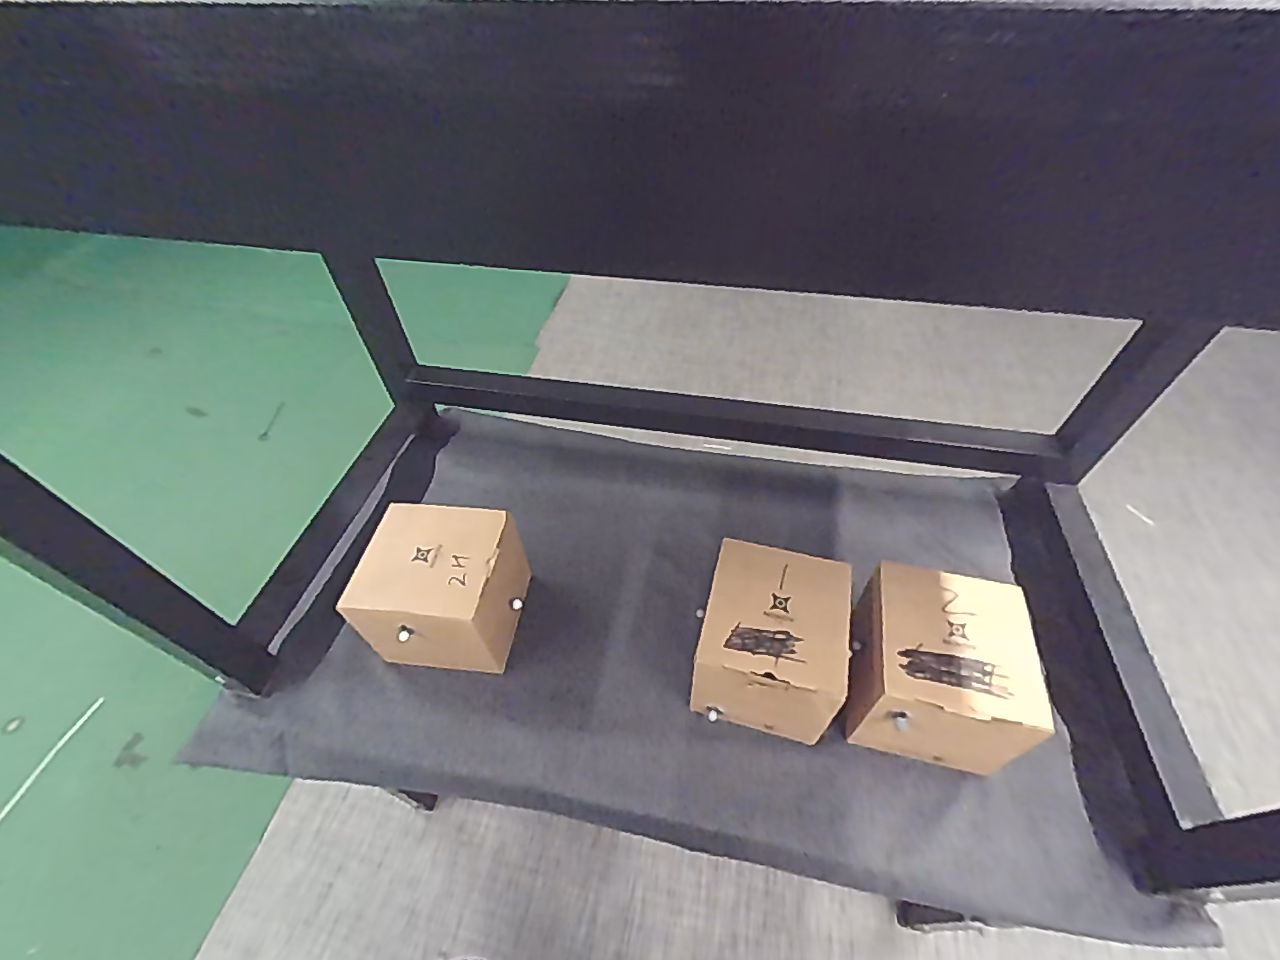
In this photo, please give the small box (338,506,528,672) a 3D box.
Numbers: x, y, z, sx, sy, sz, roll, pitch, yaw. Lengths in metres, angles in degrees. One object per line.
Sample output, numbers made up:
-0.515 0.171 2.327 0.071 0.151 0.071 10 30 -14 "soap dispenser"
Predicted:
-0.275 0.157 0.765 0.179 0.176 0.168 5 50 5 "small box"
